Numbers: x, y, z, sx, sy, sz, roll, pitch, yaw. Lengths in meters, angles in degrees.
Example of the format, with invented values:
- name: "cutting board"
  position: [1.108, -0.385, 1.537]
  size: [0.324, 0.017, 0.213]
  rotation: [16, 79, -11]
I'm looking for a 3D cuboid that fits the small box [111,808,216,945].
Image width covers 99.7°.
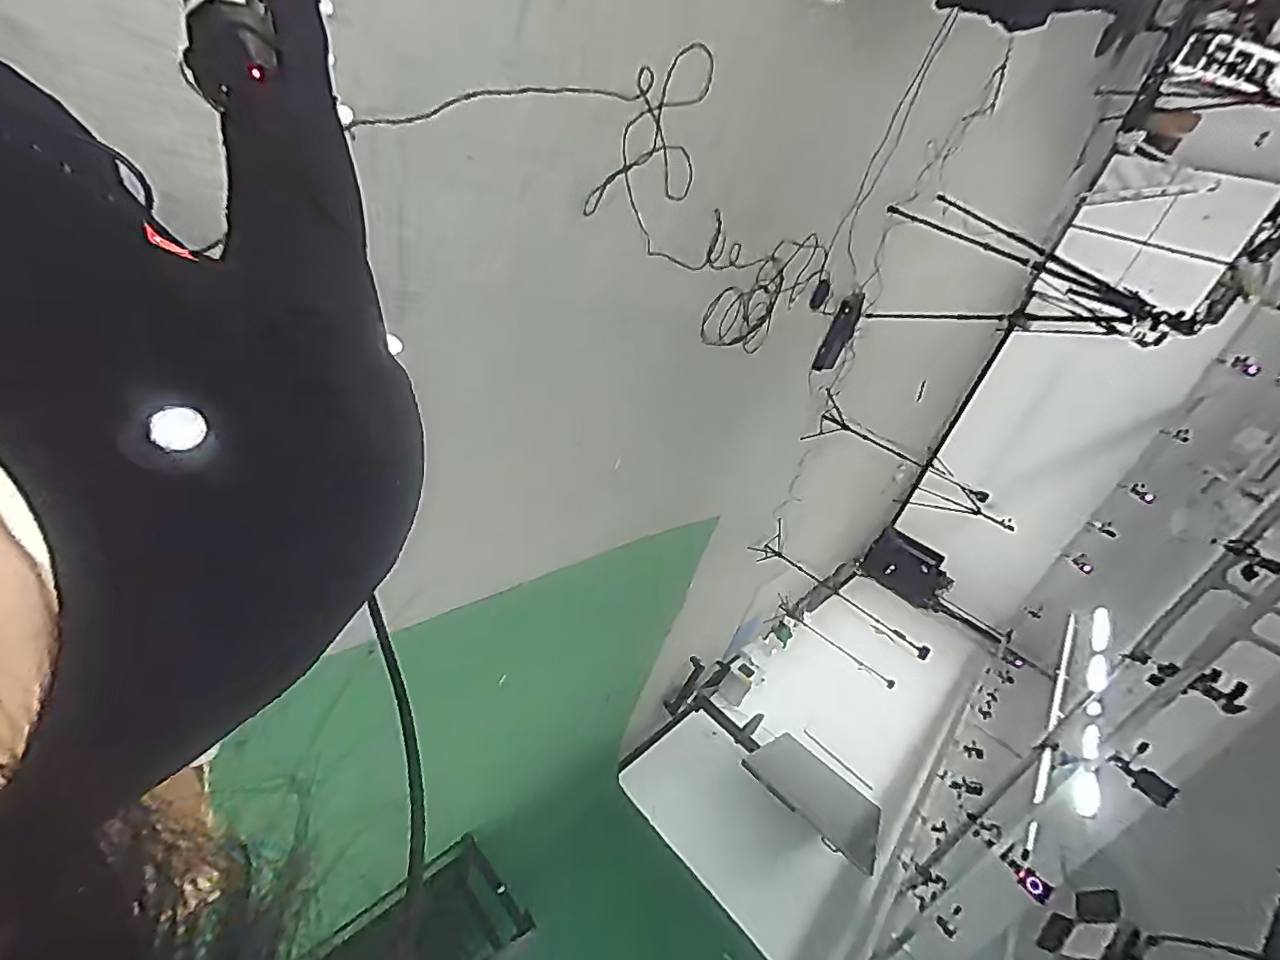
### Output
- name: "small box"
  position: [-1.176, 0.968, 1.335]
  size: [0.179, 0.176, 0.168]
  rotation: [-11, 128, -48]

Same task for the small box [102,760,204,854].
- name: "small box"
  position: [-1.285, 0.887, 1.430]
  size: [0.179, 0.176, 0.168]
  rotation: [-9, 126, -48]
